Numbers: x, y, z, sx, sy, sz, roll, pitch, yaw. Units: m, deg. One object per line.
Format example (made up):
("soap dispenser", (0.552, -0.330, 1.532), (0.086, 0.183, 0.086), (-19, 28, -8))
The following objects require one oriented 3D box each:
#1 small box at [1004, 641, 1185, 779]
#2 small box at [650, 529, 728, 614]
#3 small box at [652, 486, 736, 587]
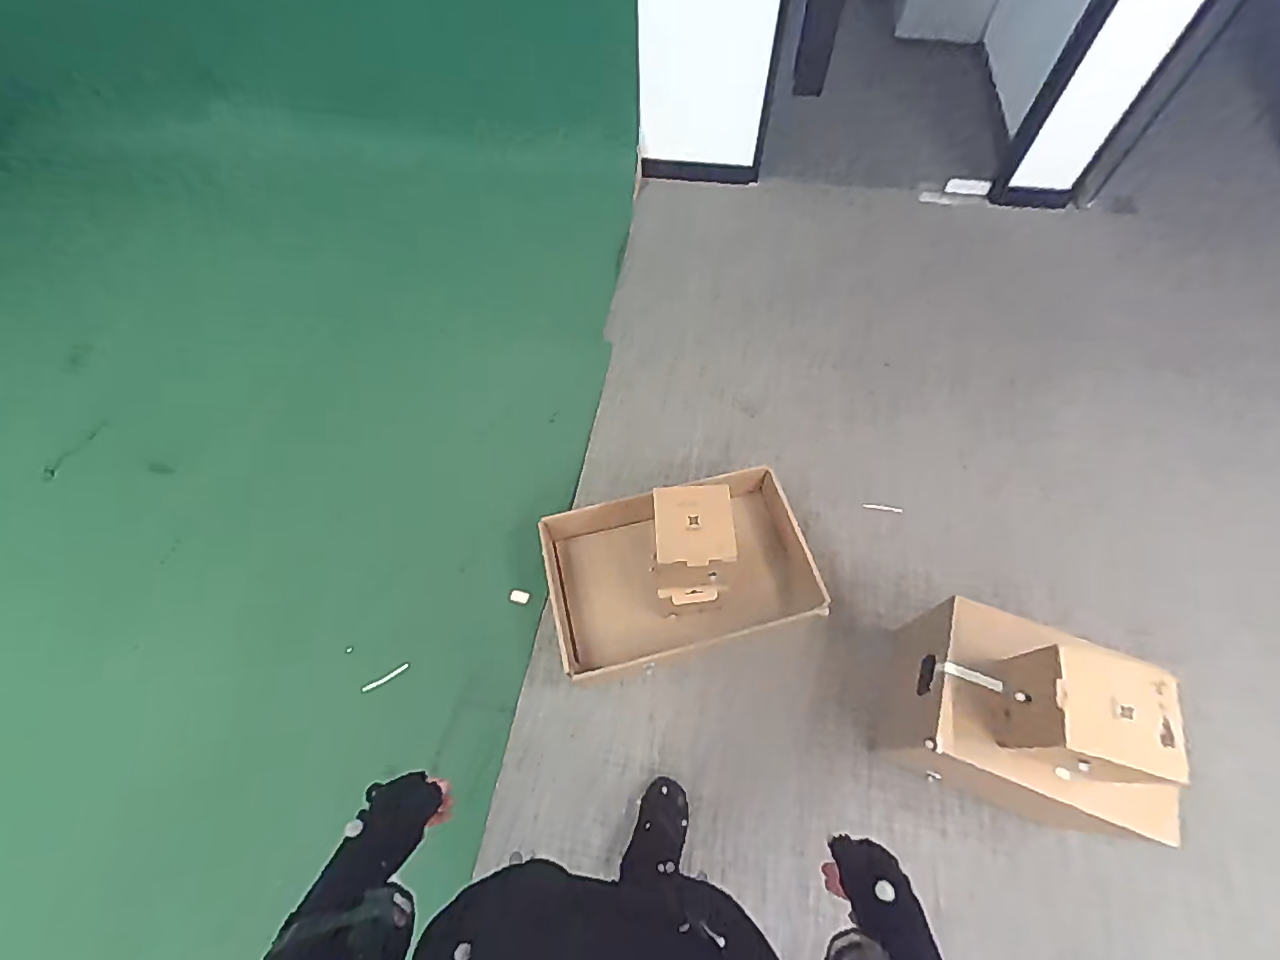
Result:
("small box", (0.751, 0.394, 0.920), (0.179, 0.176, 0.168), (14, 64, 9))
("small box", (0.118, 0.222, 1.331), (0.168, 0.176, 0.179), (-7, 60, -1))
("small box", (0.115, 0.132, 1.196), (0.168, 0.176, 0.179), (-3, 59, 0))
